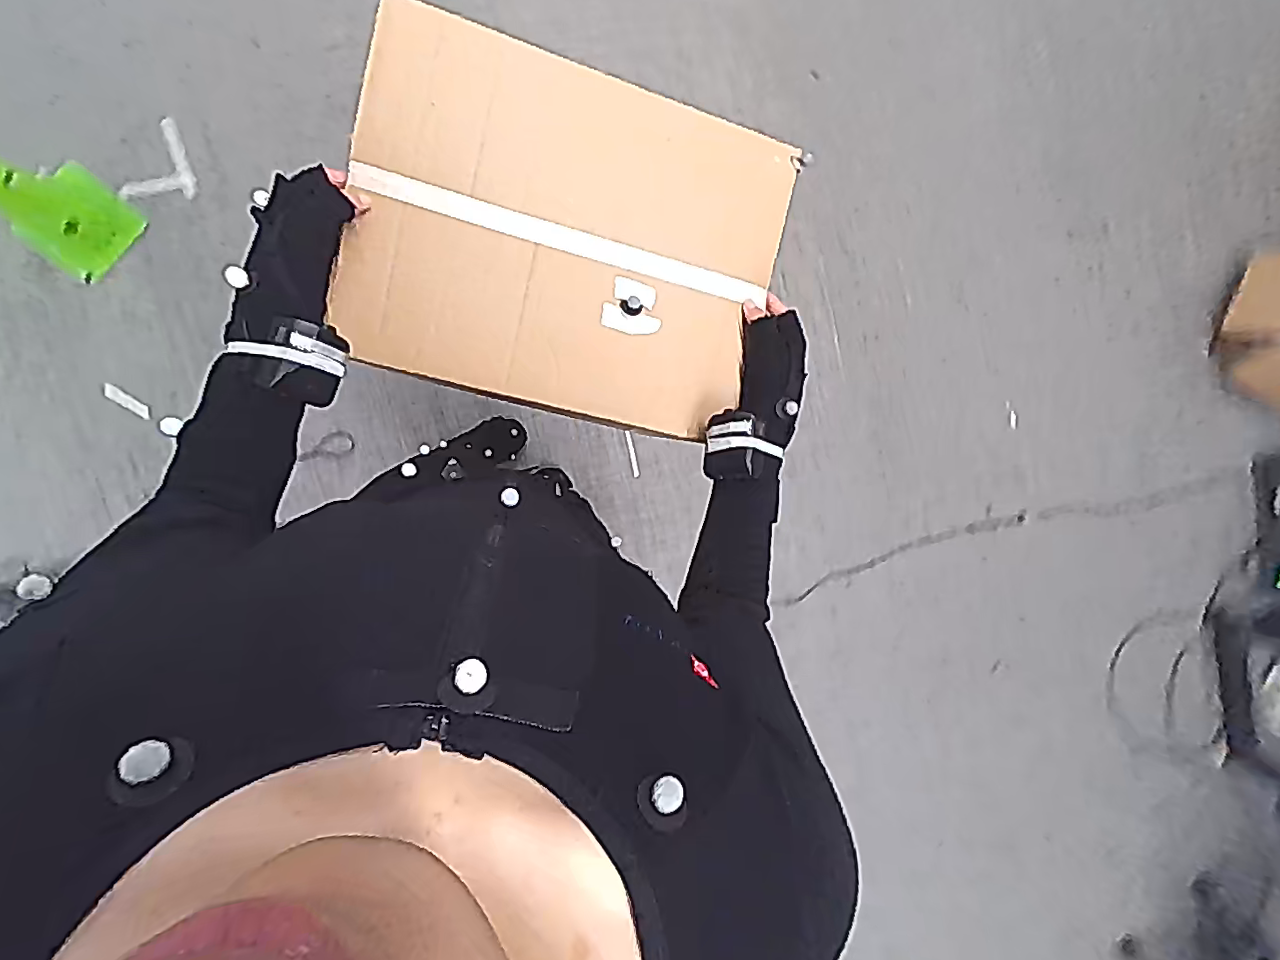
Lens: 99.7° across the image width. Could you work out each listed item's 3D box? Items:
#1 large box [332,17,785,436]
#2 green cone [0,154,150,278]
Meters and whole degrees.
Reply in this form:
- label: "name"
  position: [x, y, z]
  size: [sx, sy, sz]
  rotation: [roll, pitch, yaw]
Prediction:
- label: "large box"
  position: [-0.098, -0.242, 0.670]
  size: [0.408, 0.320, 0.320]
  rotation: [11, 94, -13]
- label: "green cone"
  position: [-1.236, -0.586, 1.068]
  size: [0.202, 0.368, 0.200]
  rotation: [40, 85, -9]
